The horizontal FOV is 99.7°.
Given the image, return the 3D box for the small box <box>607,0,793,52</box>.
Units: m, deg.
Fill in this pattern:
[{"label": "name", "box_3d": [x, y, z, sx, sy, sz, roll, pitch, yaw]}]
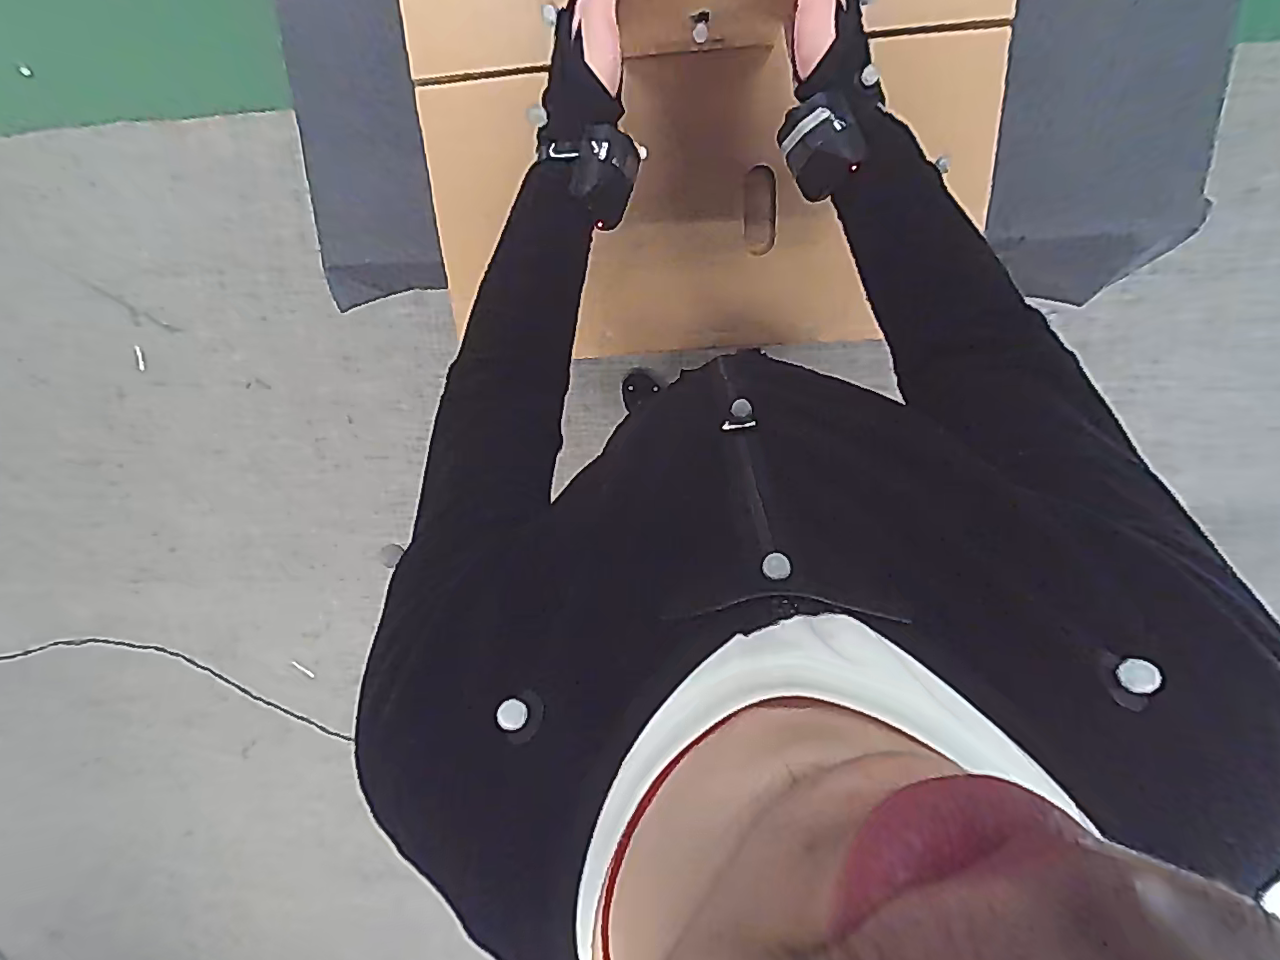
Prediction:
[{"label": "small box", "box_3d": [0.051, -0.490, 0.450, 0.168, 0.176, 0.179, -4, 111, 5]}]
